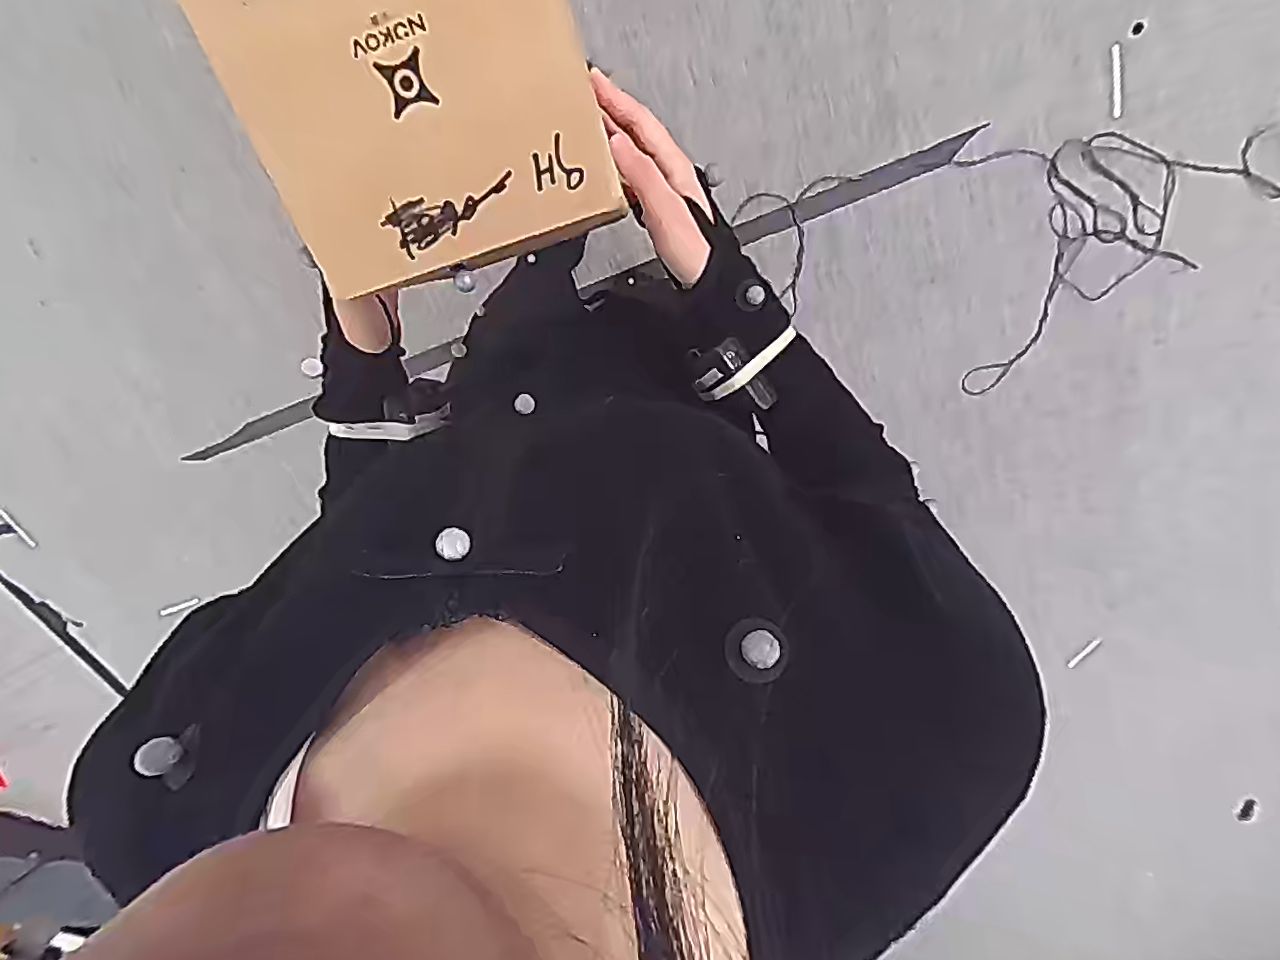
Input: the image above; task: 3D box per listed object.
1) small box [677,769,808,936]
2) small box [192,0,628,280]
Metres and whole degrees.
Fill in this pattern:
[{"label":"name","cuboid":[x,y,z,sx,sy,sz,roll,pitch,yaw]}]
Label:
[{"label":"small box","cuboid":[0.169,0.632,0.937,0.168,0.176,0.179,-21,112,9]},{"label":"small box","cuboid":[-0.110,-0.231,0.318,0.168,0.176,0.179,-16,113,7]}]
